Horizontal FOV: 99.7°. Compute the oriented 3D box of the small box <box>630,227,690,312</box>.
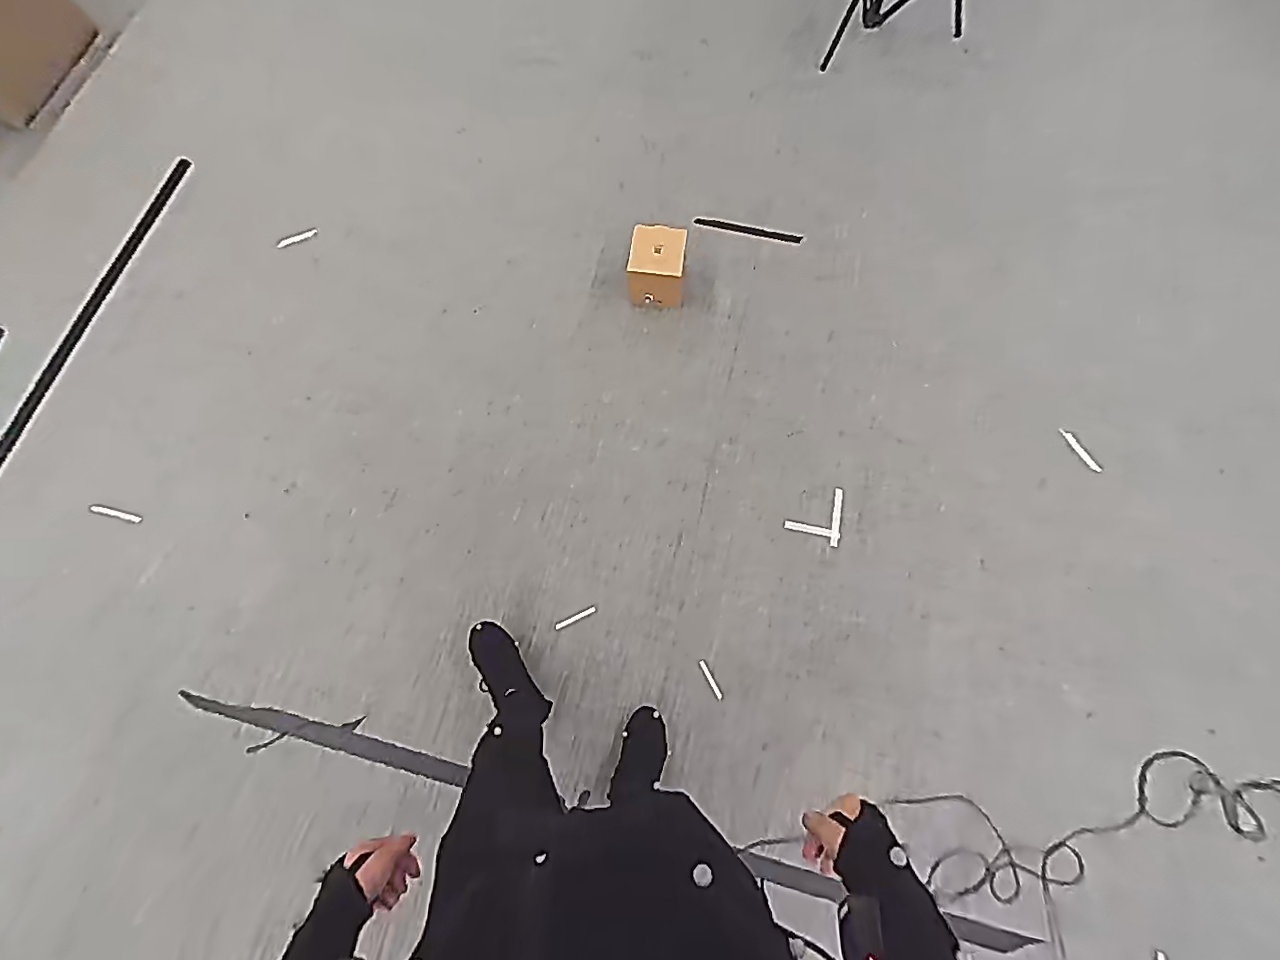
[{"bbox_3d":[0.060,-0.665,1.718,0.168,0.176,0.179,8,73,3],"label":"small box"}]
